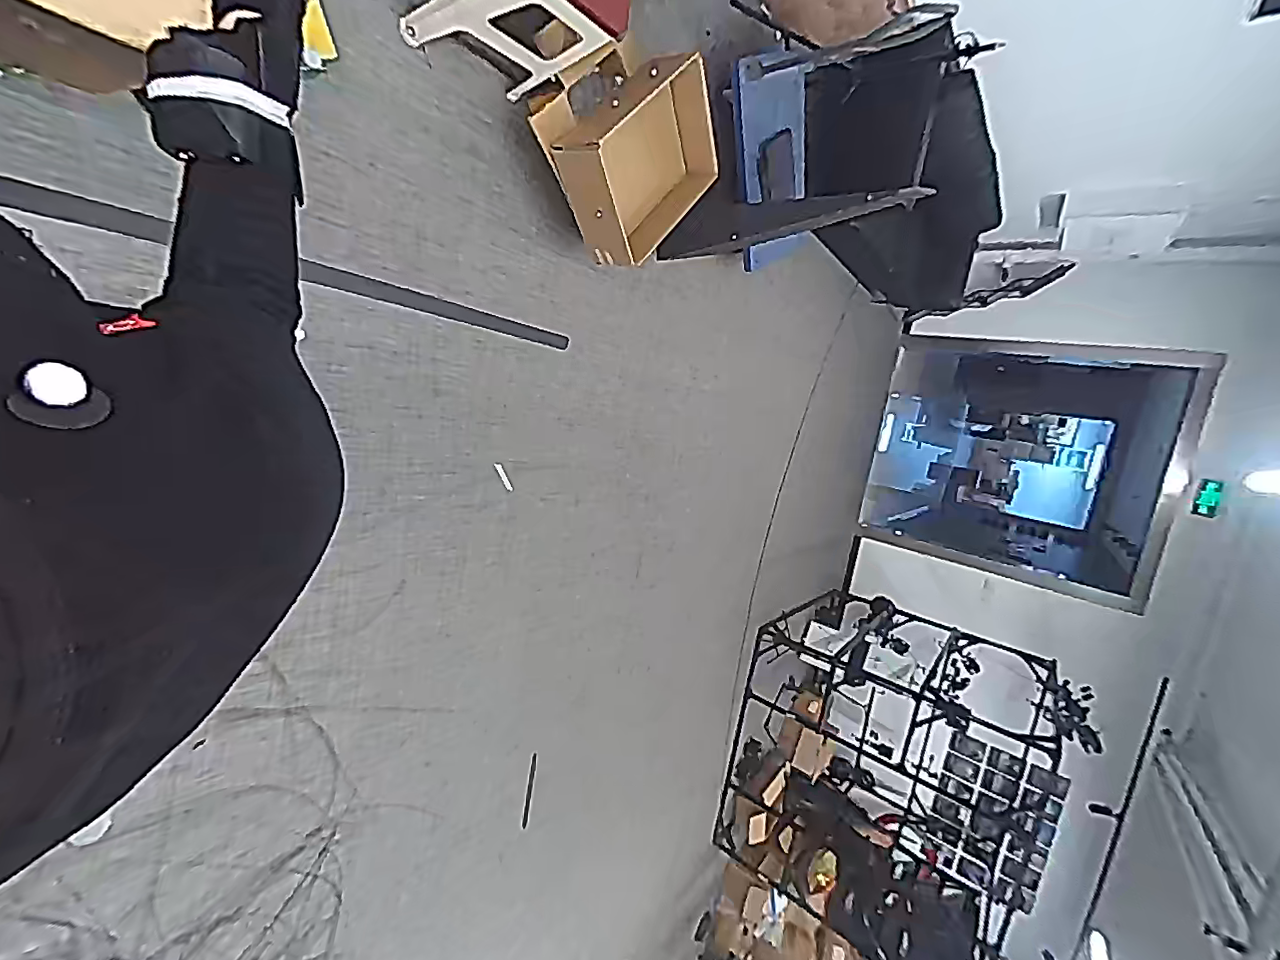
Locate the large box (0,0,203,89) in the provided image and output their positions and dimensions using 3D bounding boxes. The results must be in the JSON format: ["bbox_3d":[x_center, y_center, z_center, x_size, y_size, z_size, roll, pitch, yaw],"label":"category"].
[{"bbox_3d":[-0.508,-0.462,0.261,0.408,0.320,0.320,-7,116,-55],"label":"large box"}]
